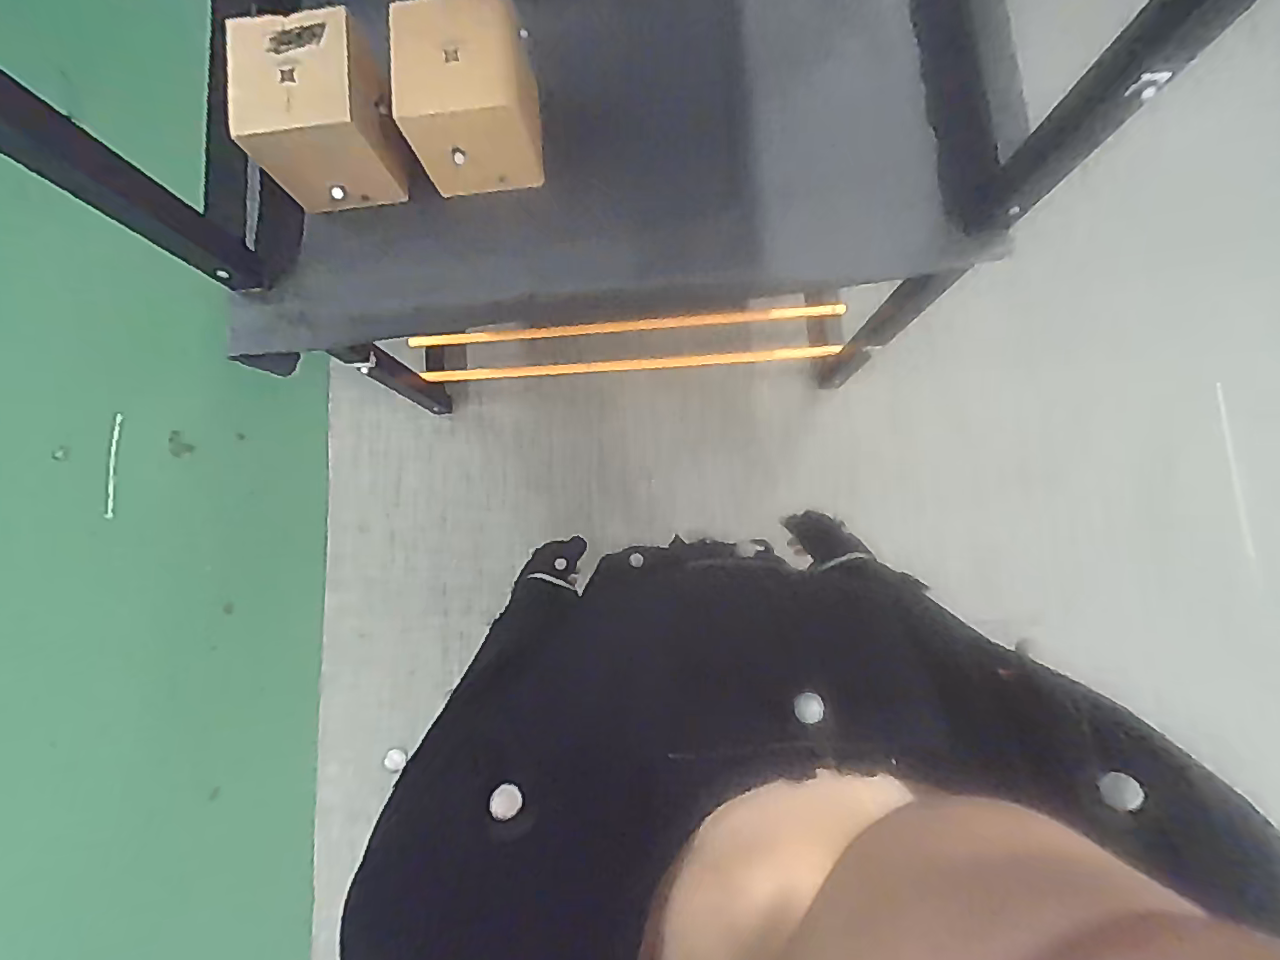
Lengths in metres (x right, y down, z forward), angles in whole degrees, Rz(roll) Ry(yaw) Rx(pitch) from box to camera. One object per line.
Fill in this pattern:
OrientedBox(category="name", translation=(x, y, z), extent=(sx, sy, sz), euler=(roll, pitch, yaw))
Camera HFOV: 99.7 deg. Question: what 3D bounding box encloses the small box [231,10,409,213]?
OrientedBox(category="small box", translation=(-0.459, -0.531, 0.798), extent=(0.168, 0.176, 0.179), euler=(-6, 83, 2))
